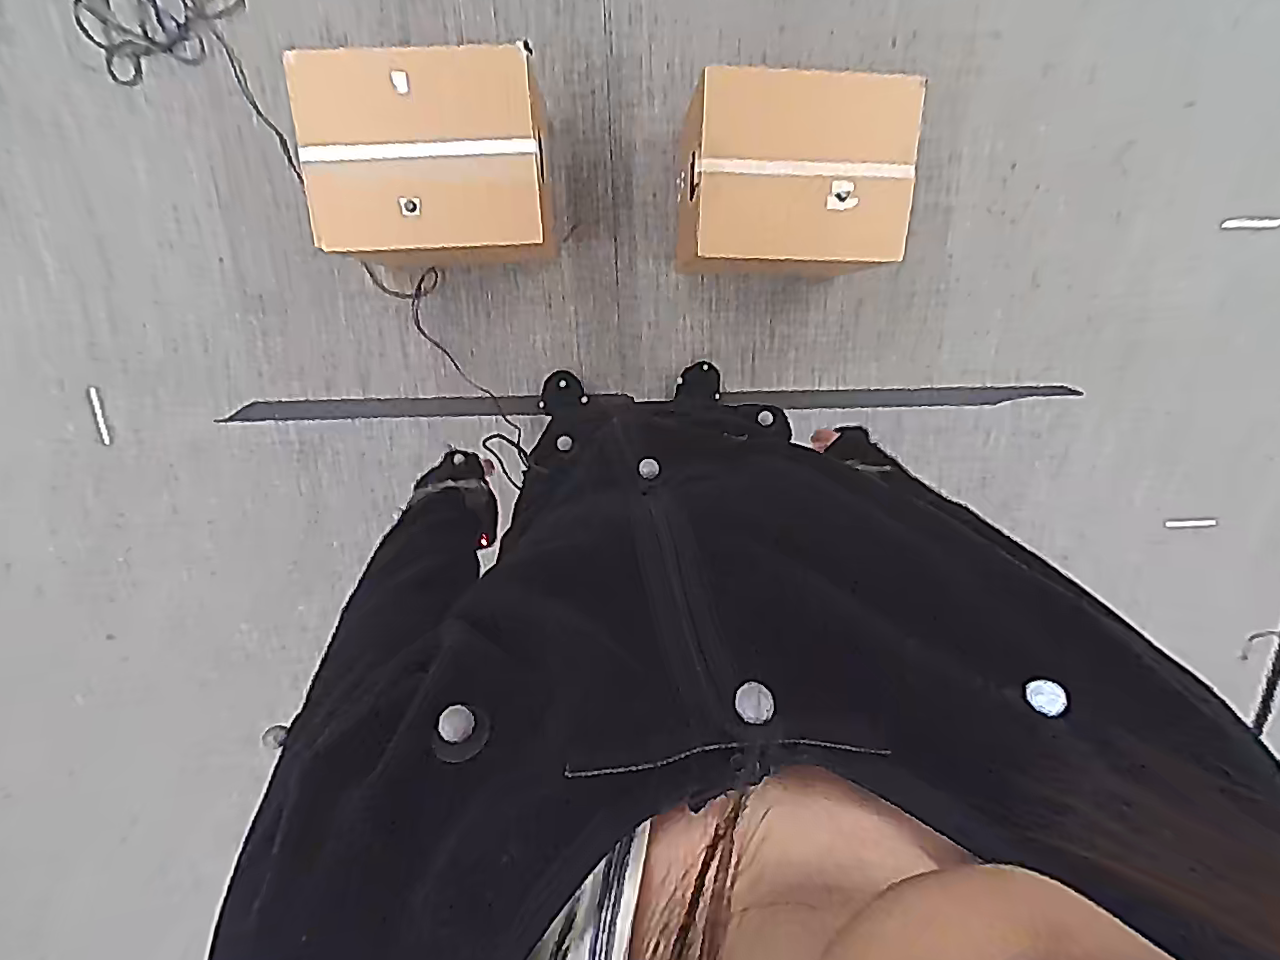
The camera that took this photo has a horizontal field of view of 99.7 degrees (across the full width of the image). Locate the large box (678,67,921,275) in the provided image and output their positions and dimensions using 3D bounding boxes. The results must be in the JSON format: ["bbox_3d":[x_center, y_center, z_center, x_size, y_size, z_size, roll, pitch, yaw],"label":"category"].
[{"bbox_3d":[0.299,-0.615,1.143,0.408,0.320,0.320,0,106,-5],"label":"large box"}]
